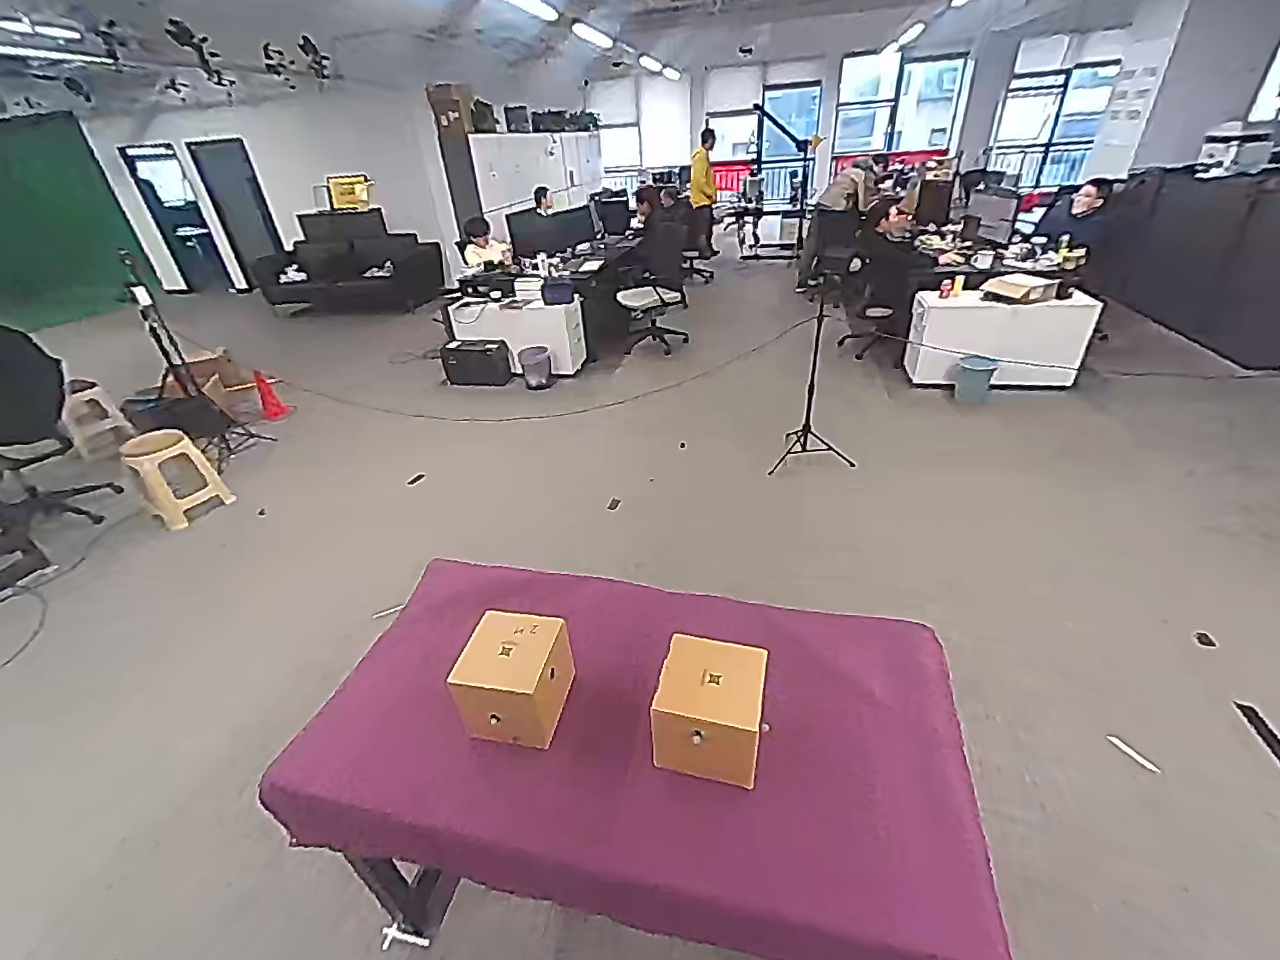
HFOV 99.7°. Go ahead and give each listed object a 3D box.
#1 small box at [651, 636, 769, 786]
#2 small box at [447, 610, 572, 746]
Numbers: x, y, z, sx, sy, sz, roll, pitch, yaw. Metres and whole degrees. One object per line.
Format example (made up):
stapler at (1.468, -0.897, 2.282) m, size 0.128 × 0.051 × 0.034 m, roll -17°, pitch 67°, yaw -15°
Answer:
small box at (0.128, 0.409, 0.960) m, size 0.179 × 0.176 × 0.168 m, roll 5°, pitch 34°, yaw 16°
small box at (-0.237, 0.380, 1.042) m, size 0.168 × 0.176 × 0.179 m, roll 4°, pitch 33°, yaw 12°
